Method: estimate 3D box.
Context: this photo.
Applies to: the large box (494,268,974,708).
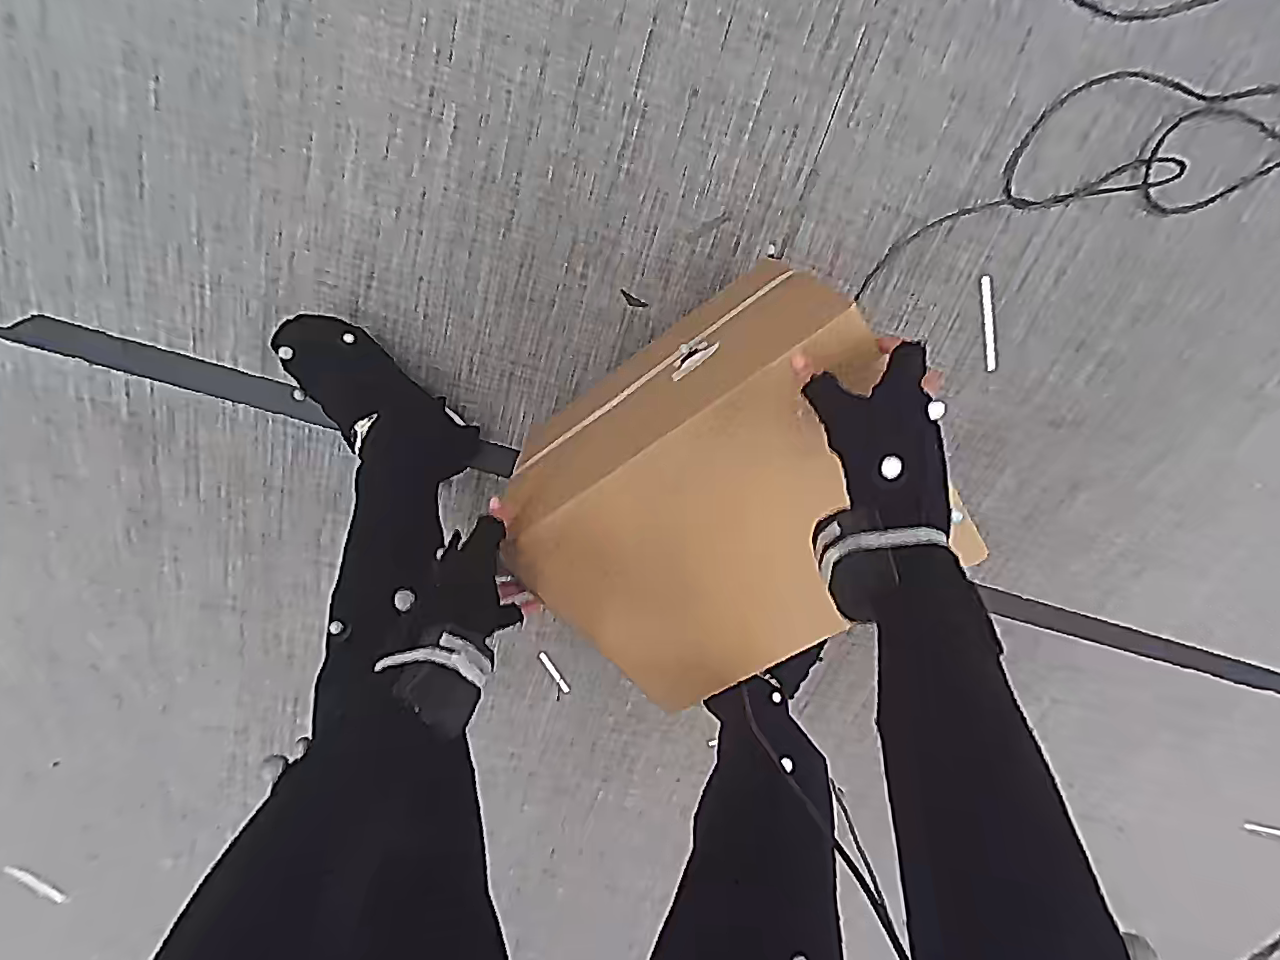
[{"bbox_3d":[0.098,0.005,0.680,0.408,0.320,0.320,-33,114,17],"label":"large box"}]
